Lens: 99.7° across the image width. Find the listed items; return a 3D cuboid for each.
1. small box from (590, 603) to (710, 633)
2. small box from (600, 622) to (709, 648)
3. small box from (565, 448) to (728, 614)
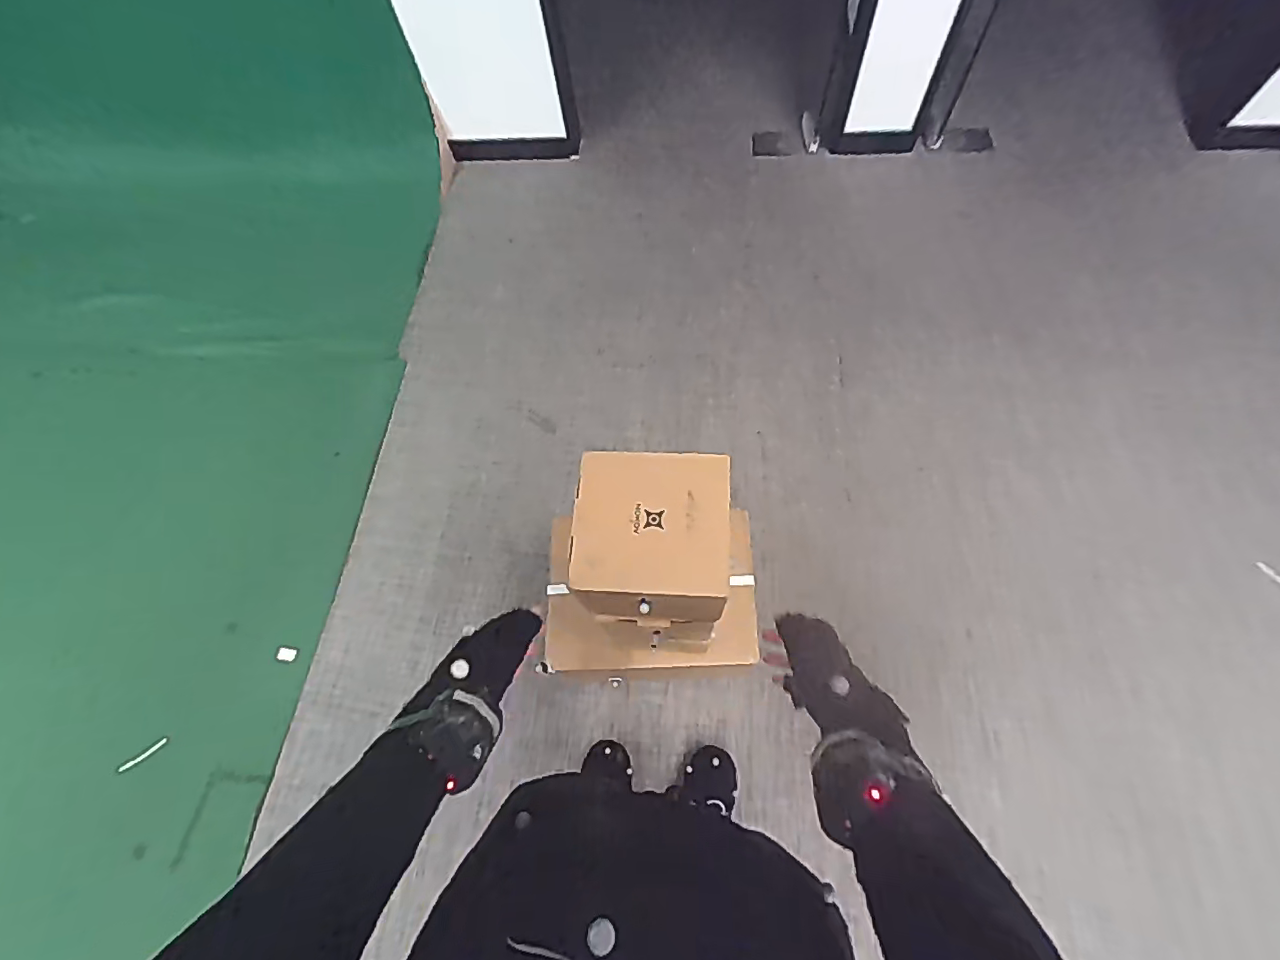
[{"bbox_3d":[0.024,0.135,0.823,0.168,0.176,0.179,1,68,5],"label":"small box"},{"bbox_3d":[0.033,0.206,0.970,0.179,0.176,0.168,2,67,6],"label":"small box"},{"bbox_3d":[0.015,0.071,0.674,0.179,0.176,0.168,2,68,4],"label":"small box"}]
